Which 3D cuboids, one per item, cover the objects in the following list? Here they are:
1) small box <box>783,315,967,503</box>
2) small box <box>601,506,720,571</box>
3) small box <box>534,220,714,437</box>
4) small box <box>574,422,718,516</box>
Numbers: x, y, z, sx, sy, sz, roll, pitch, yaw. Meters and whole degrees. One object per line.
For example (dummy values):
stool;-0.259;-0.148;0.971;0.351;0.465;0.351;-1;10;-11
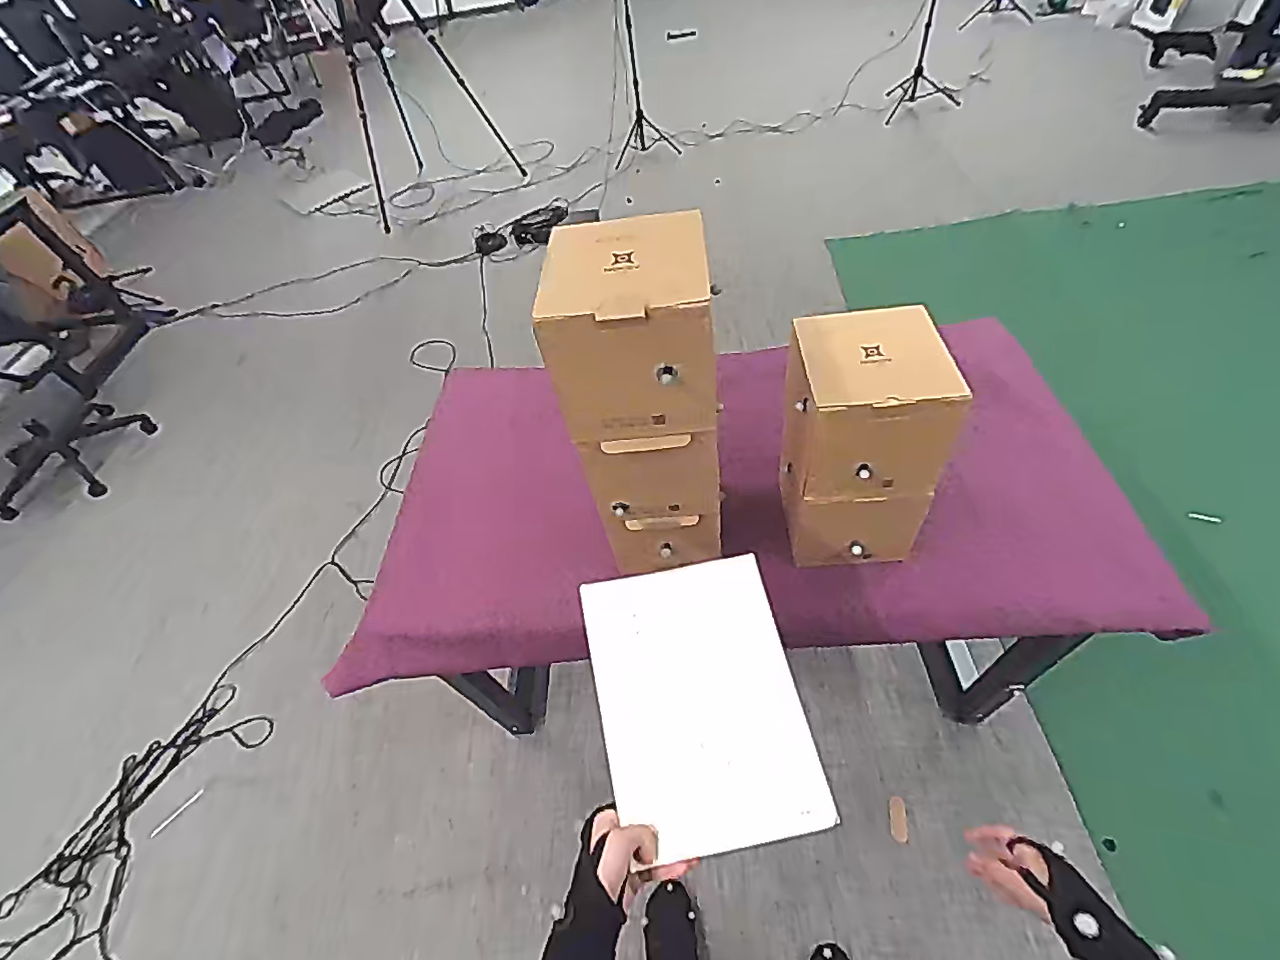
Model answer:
small box;0.287;-0.090;0.709;0.168;0.176;0.179;-4;50;7
small box;0.039;0.037;0.863;0.168;0.176;0.179;-4;51;6
small box;-0.005;-0.160;0.604;0.168;0.176;0.179;-3;50;7
small box;0.017;-0.062;0.733;0.168;0.176;0.179;-4;50;7
